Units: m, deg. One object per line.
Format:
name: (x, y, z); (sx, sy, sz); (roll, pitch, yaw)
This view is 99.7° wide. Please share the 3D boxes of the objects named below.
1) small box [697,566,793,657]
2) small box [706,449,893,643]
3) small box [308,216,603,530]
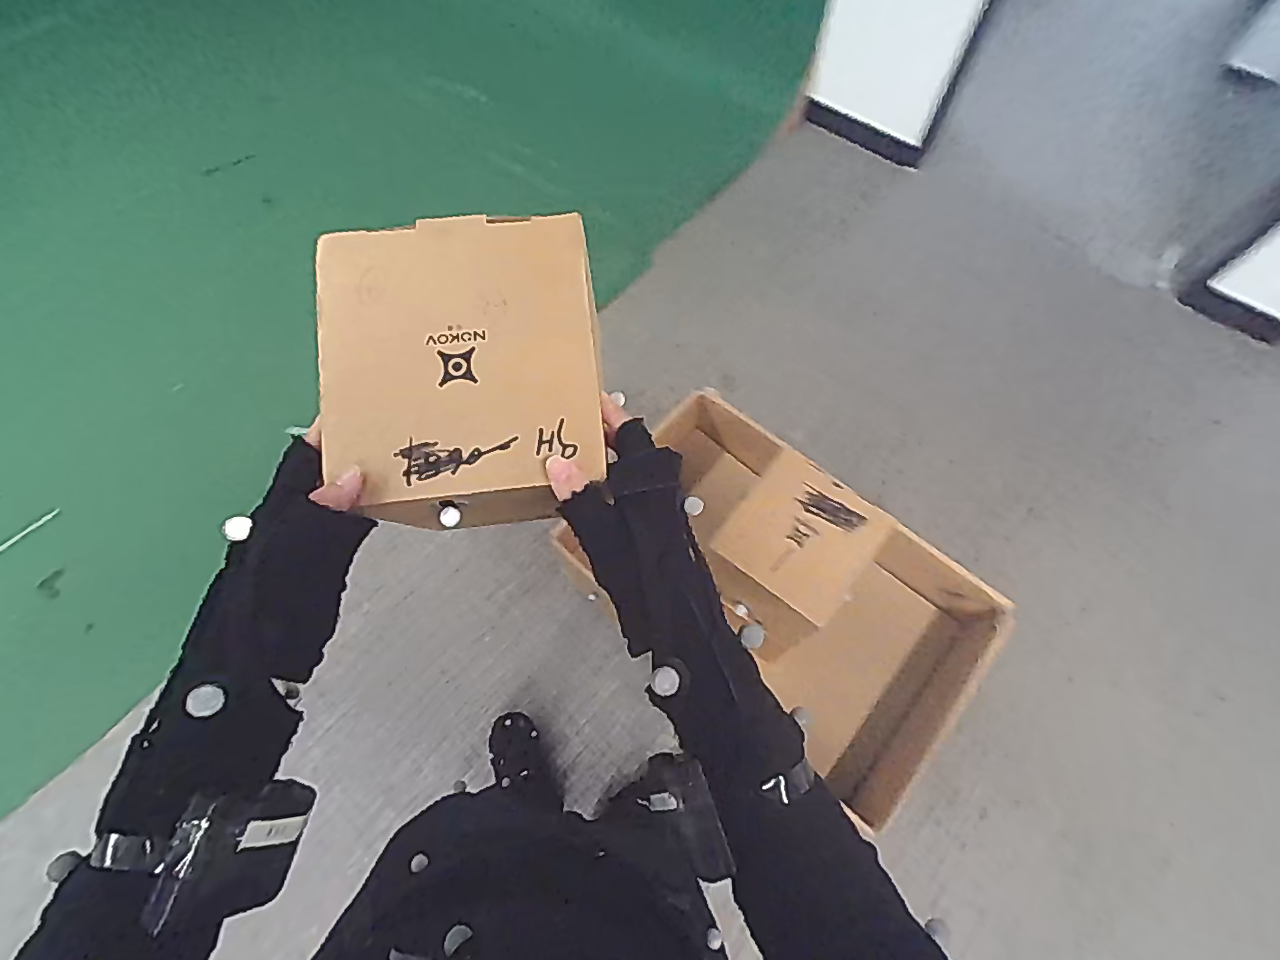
small box: (0.204, 0.166, 0.888); (0.168, 0.176, 0.179); (35, 71, 17)
small box: (0.203, 0.096, 0.740); (0.168, 0.176, 0.179); (36, 72, 18)
small box: (-0.121, -0.064, 0.410); (0.168, 0.176, 0.179); (-7, 80, -2)
